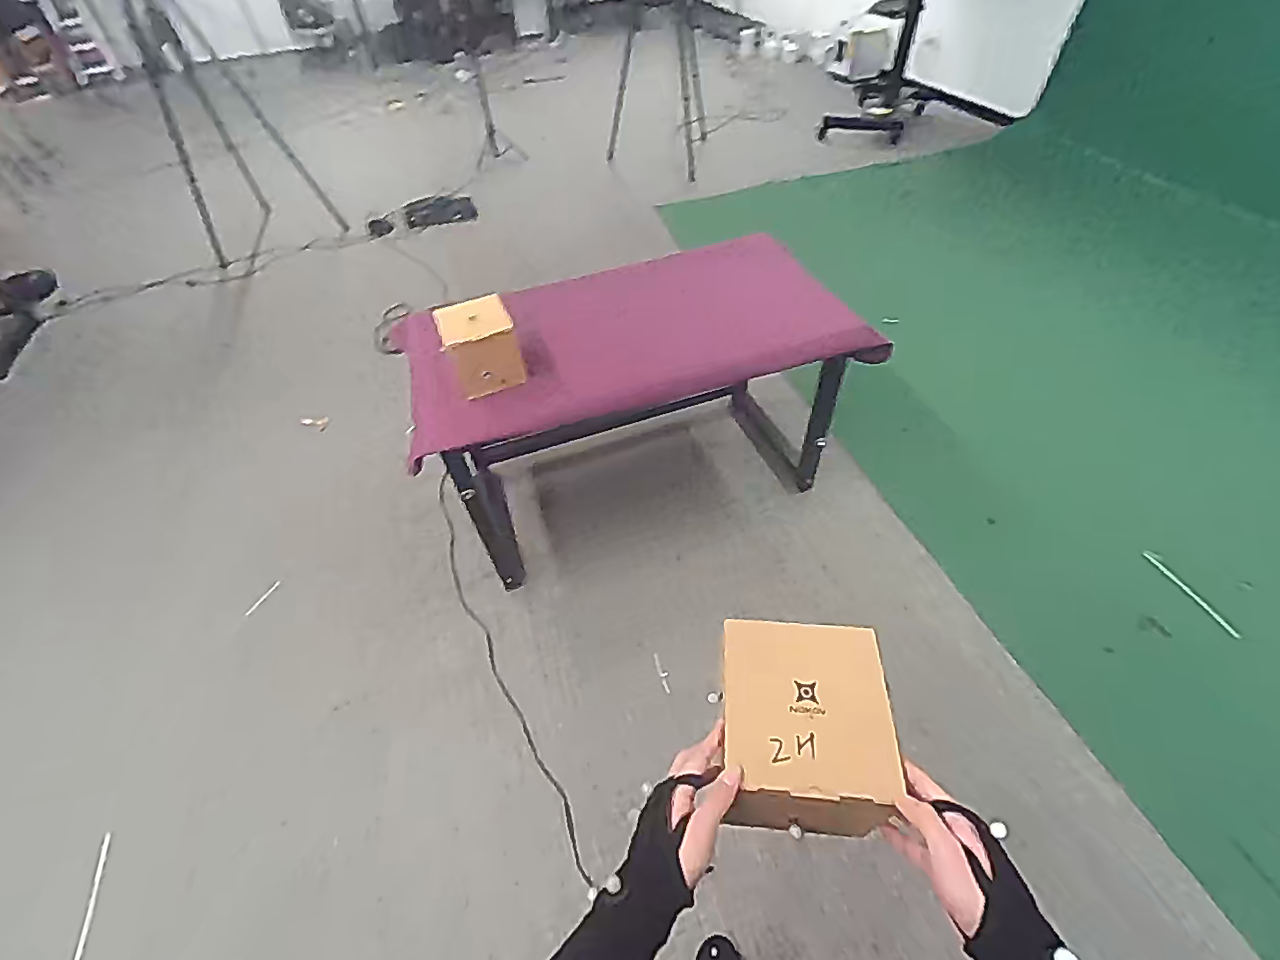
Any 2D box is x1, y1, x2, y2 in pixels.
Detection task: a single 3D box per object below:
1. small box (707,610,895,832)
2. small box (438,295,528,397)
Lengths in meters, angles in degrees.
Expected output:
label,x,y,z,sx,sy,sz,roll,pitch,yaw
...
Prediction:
label,x,y,z,sx,sy,sz,roll,pitch,yaw
small box,0.162,0.269,0.608,0.168,0.176,0.179,2,48,7
small box,-0.401,-0.343,1.391,0.168,0.176,0.179,-20,51,-13
